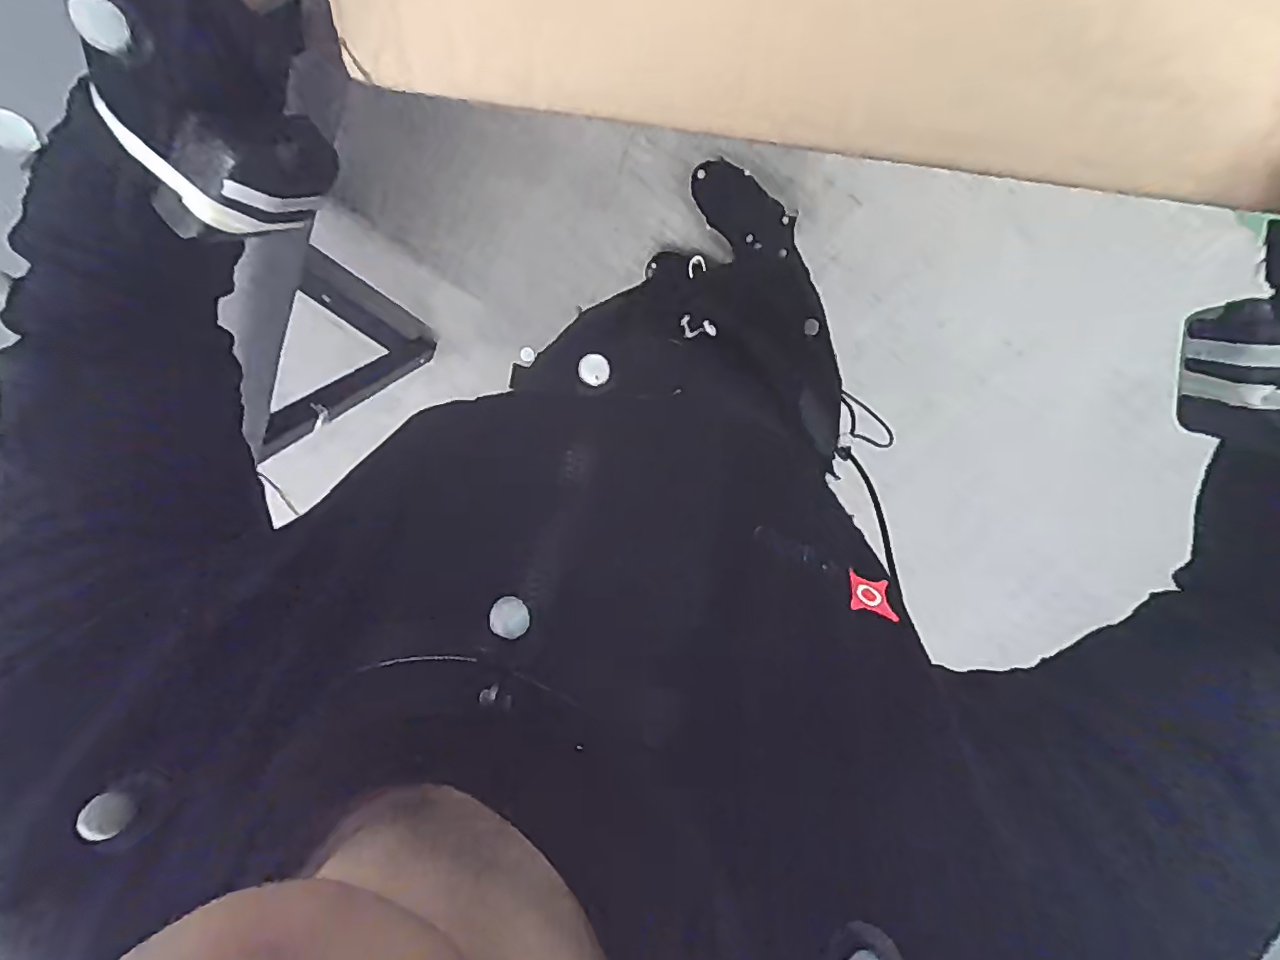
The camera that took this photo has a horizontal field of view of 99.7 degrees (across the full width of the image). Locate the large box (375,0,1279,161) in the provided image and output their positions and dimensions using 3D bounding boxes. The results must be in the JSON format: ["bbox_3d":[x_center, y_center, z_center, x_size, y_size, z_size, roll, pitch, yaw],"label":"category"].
[{"bbox_3d":[0.111,-0.369,0.236,0.408,0.320,0.320,7,133,-1],"label":"large box"}]
